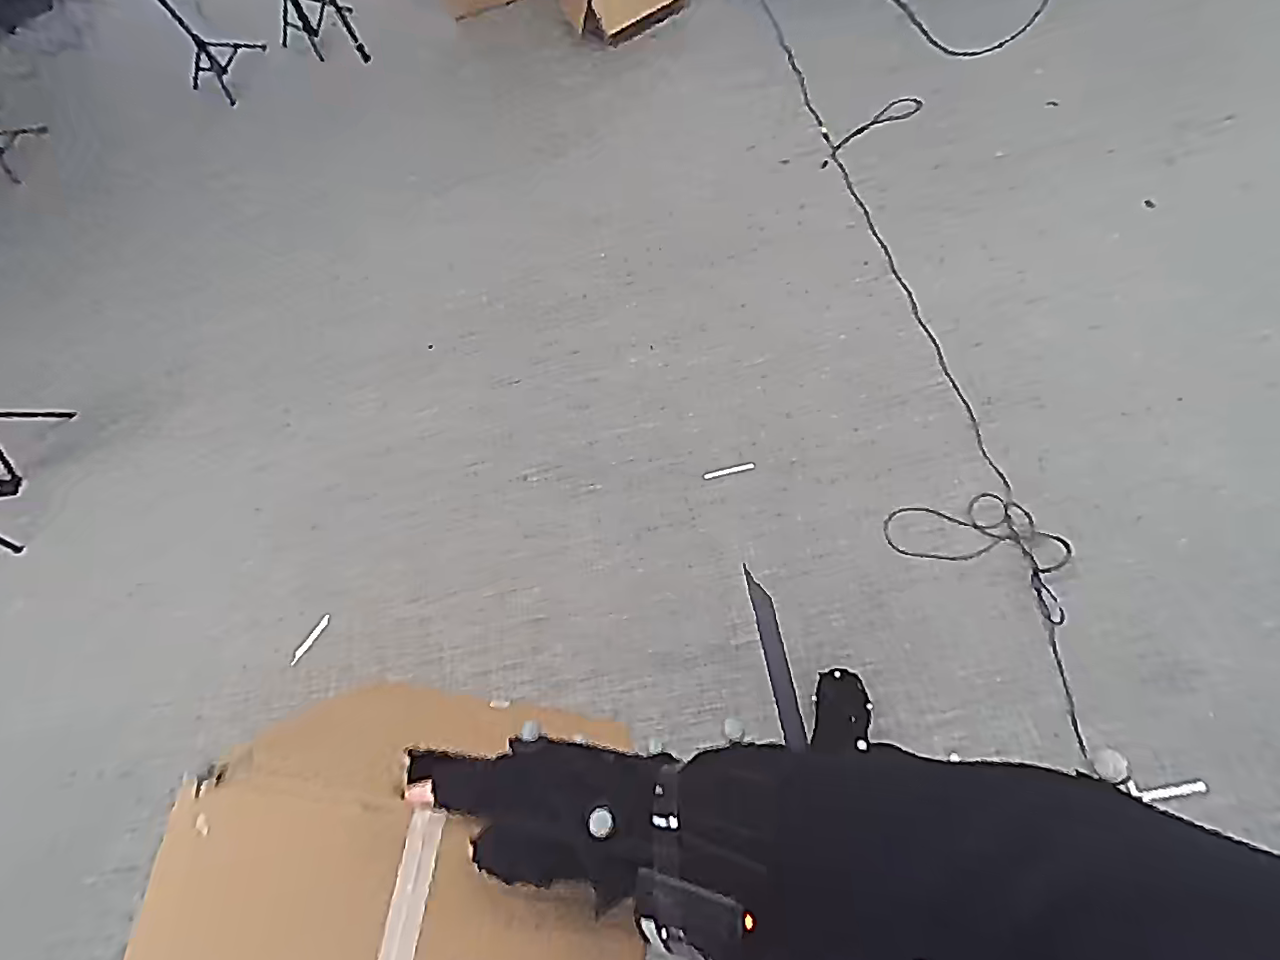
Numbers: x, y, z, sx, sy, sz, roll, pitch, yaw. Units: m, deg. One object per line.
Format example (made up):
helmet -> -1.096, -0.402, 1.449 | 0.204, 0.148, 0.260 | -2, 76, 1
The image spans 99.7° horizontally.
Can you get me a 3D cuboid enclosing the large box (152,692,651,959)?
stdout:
large box -> -0.184, 0.441, 0.477 | 0.320, 0.320, 0.408 | 10, 77, -6
